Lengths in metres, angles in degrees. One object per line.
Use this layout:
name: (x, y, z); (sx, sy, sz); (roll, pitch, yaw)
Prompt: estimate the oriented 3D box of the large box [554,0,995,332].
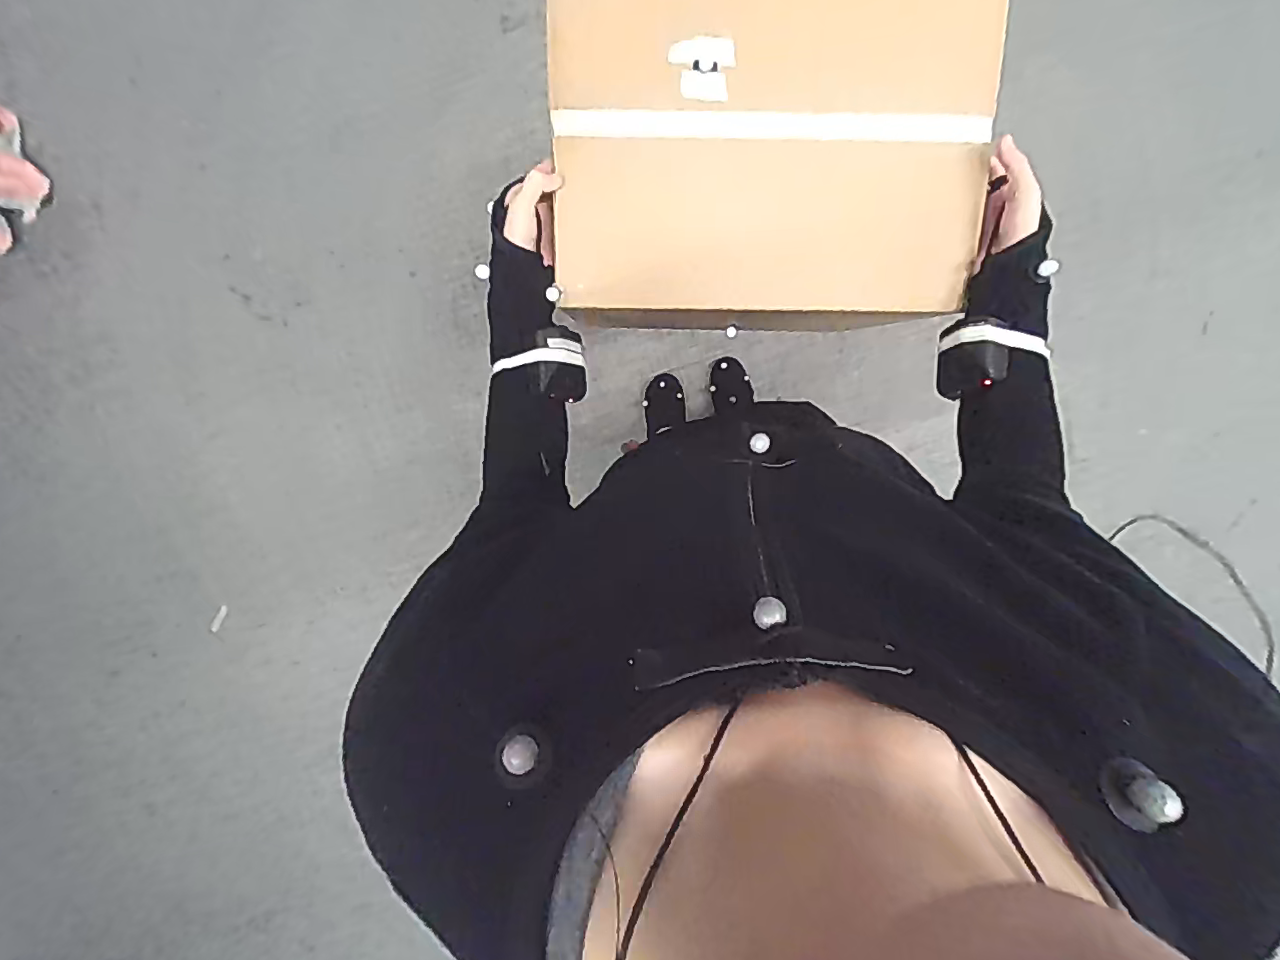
large box: (0.121, -0.345, 0.655); (0.408, 0.320, 0.320); (1, 100, -1)
